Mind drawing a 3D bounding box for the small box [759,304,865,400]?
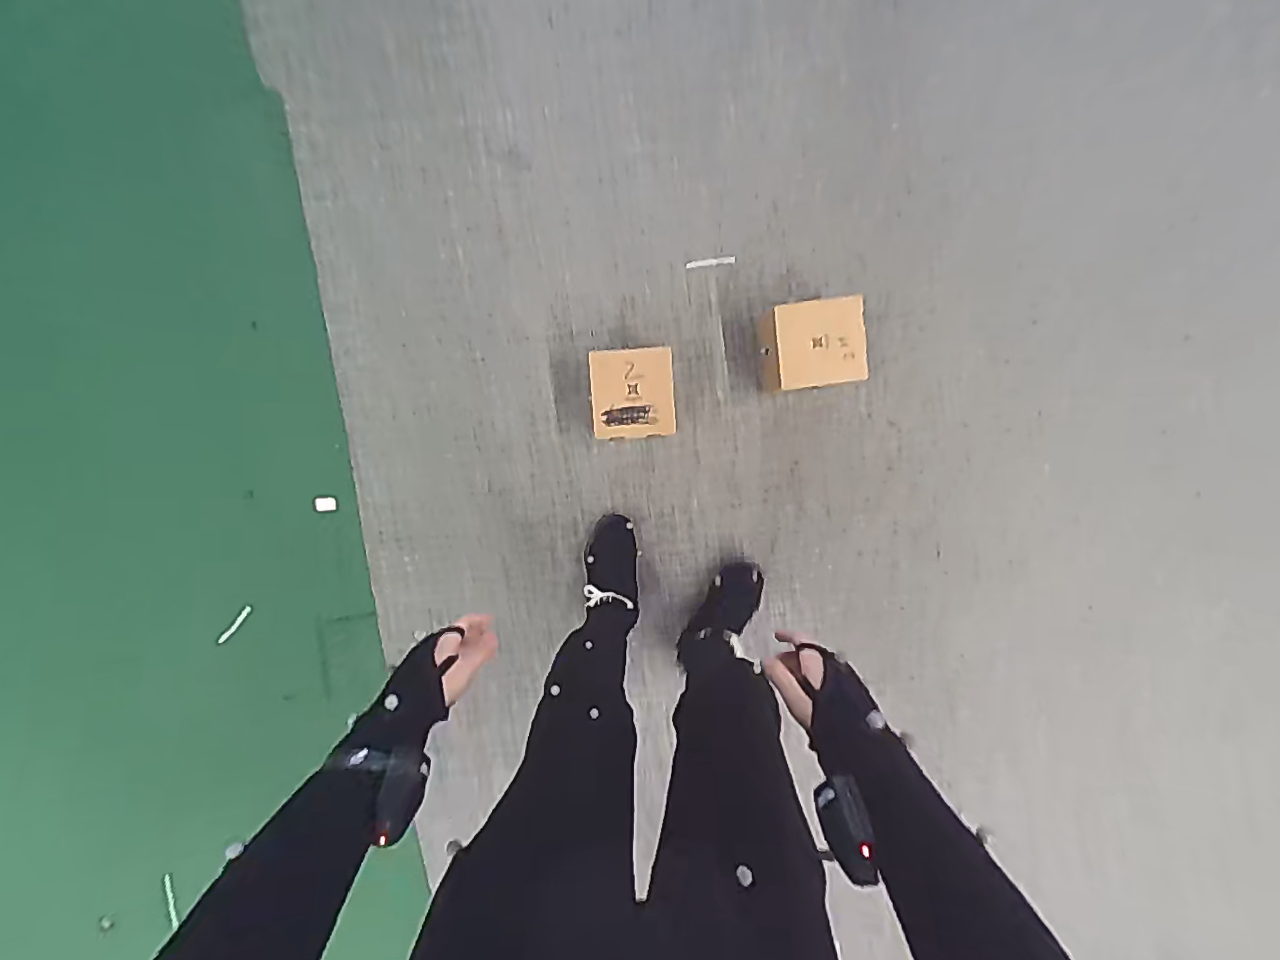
[{"bbox_3d":[0.356,-0.264,1.151,0.179,0.176,0.168,-7,95,1],"label":"small box"}]
